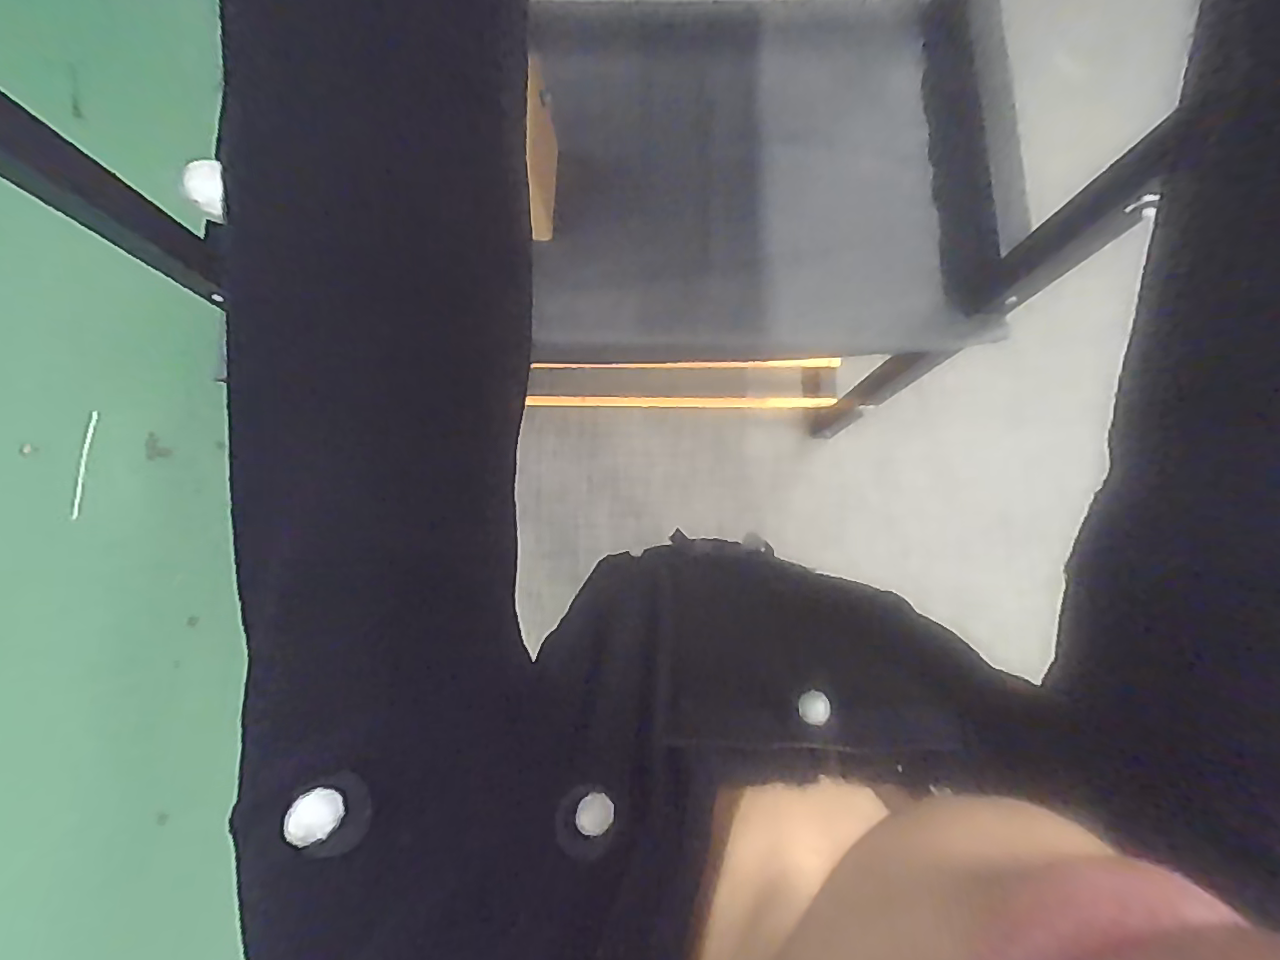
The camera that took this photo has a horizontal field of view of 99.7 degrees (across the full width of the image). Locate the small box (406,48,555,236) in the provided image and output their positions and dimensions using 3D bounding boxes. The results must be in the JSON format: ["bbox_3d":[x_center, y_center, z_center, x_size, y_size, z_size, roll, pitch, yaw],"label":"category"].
[{"bbox_3d":[-0.221,-0.483,0.795,0.168,0.176,0.179,2,80,0],"label":"small box"}]
